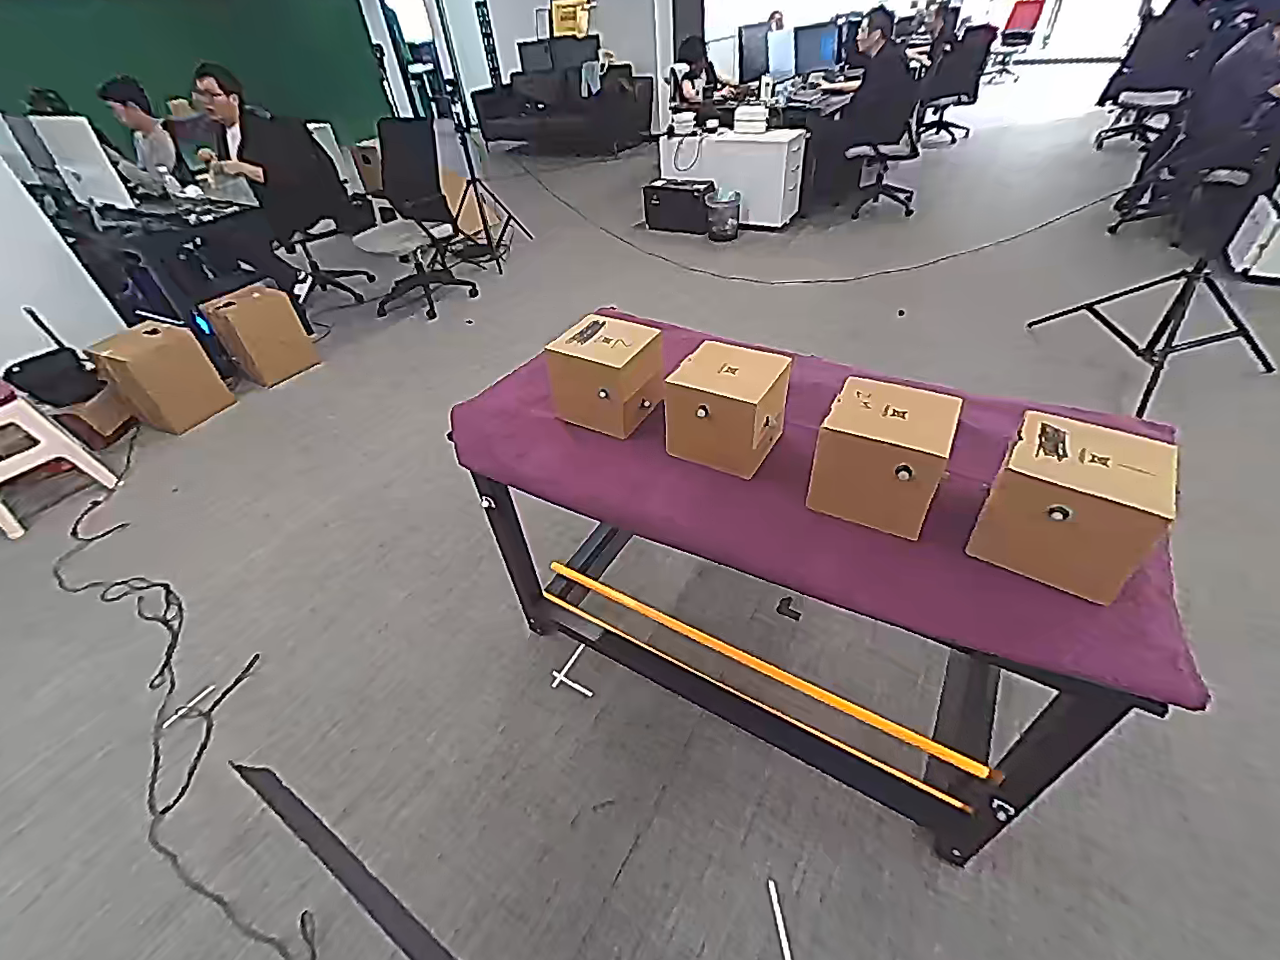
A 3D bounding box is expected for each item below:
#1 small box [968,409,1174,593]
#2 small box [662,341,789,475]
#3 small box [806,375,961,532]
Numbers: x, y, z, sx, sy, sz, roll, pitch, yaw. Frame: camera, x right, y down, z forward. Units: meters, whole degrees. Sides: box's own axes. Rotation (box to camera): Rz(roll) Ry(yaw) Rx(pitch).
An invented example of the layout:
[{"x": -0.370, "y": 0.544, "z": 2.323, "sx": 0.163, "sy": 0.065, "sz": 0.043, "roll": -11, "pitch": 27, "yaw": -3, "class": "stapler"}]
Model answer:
[{"x": 0.594, "y": 0.028, "z": 0.761, "sx": 0.179, "sy": 0.176, "sz": 0.168, "roll": 23, "pitch": 48, "yaw": 29, "class": "small box"}, {"x": 0.159, "y": -0.133, "z": 1.005, "sx": 0.179, "sy": 0.176, "sz": 0.168, "roll": 19, "pitch": 47, "yaw": 26, "class": "small box"}, {"x": 0.383, "y": -0.042, "z": 0.867, "sx": 0.179, "sy": 0.176, "sz": 0.168, "roll": 18, "pitch": 45, "yaw": 26, "class": "small box"}]
